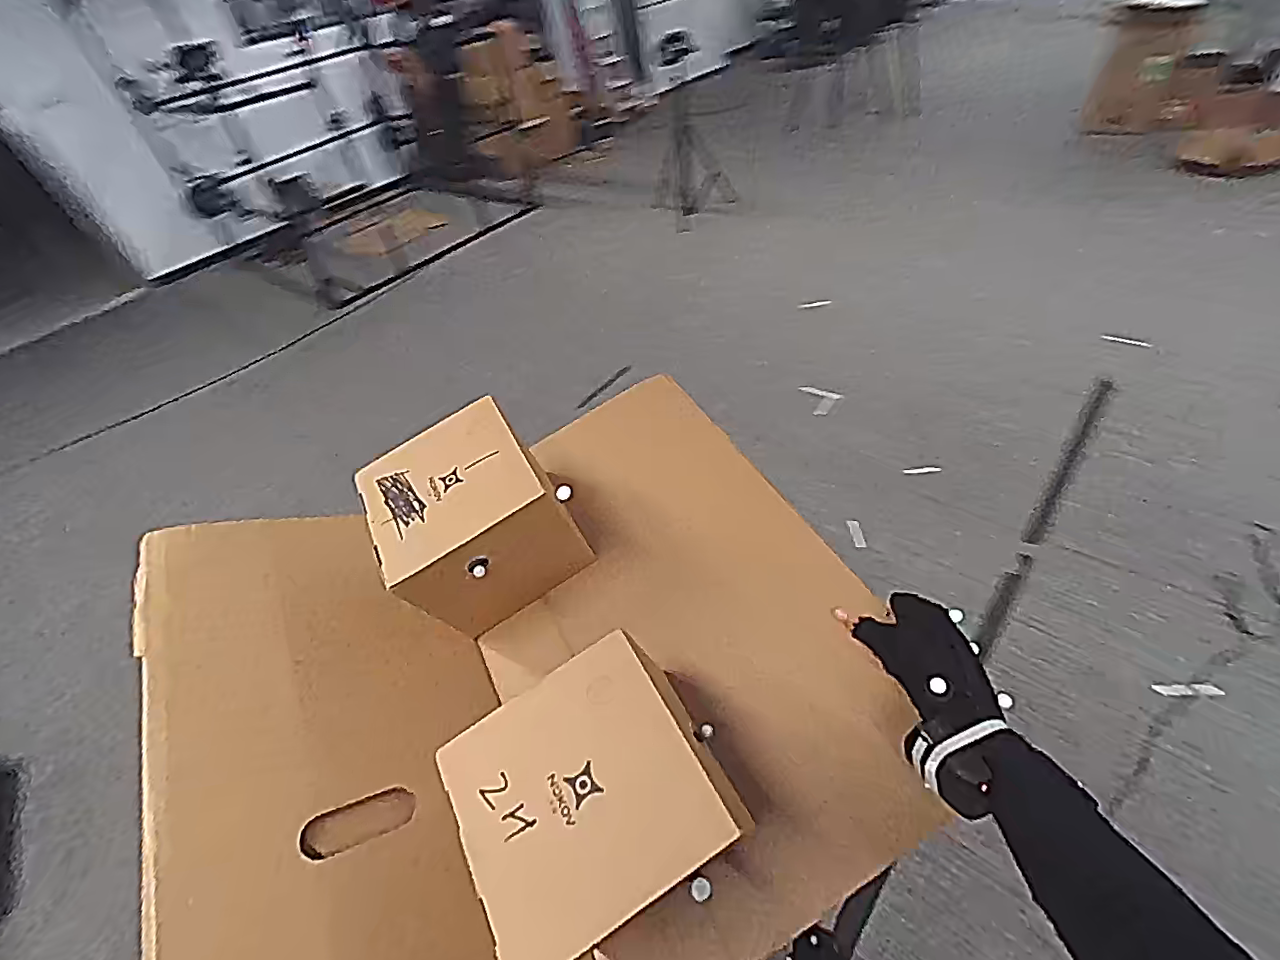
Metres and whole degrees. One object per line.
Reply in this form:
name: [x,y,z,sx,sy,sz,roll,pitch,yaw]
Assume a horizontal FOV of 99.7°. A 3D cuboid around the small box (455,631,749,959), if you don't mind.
small box: [-0.021,0.263,0.463,0.179,0.176,0.168,-32,55,-4]
